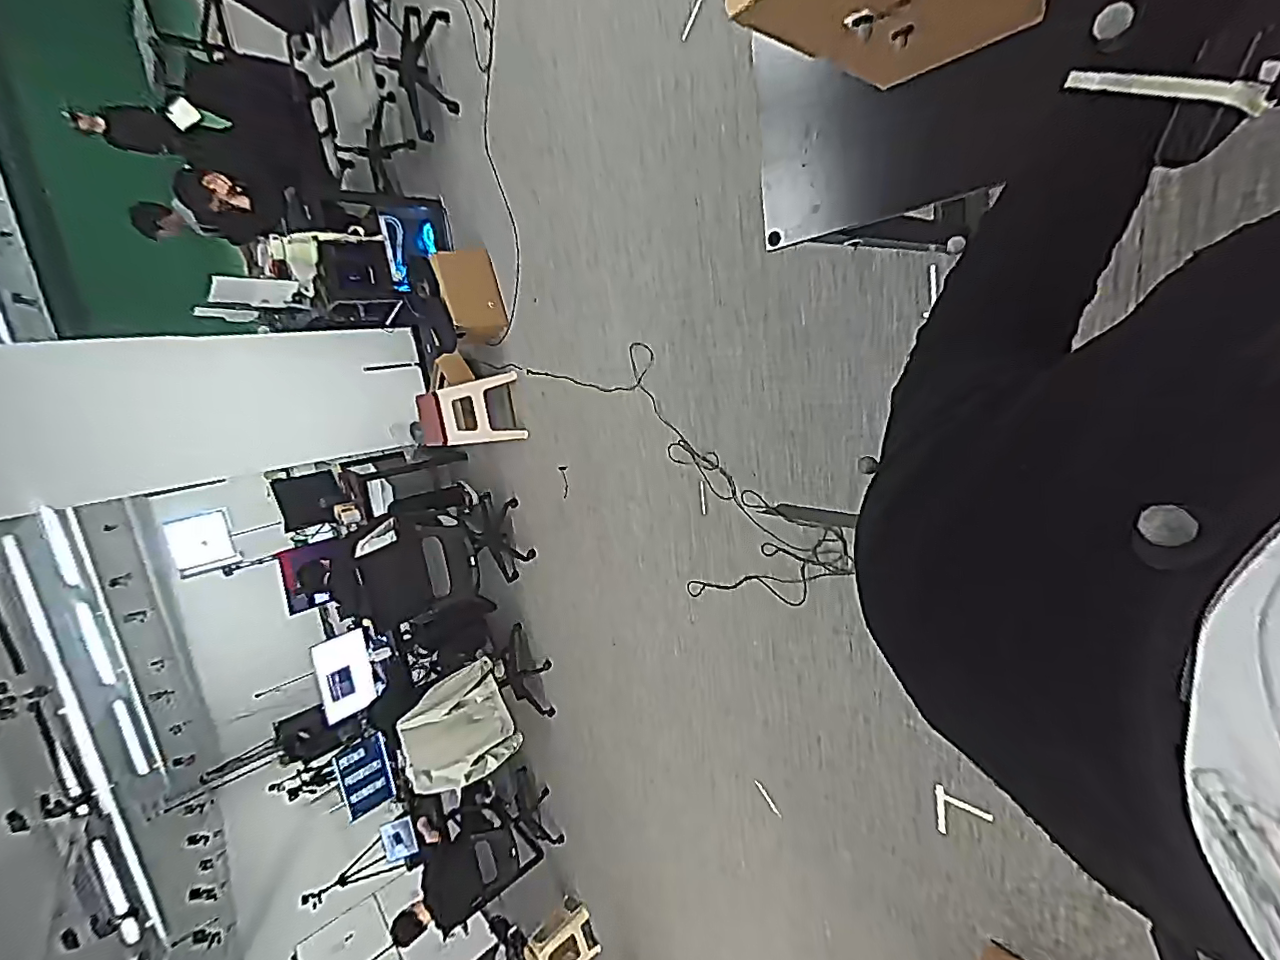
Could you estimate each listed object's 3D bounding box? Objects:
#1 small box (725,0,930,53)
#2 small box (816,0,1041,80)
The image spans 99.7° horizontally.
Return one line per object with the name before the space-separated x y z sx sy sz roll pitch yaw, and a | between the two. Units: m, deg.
small box | 0.184 -0.528 0.475 0.168 0.176 0.179 8 110 50
small box | 0.307 -0.566 0.574 0.179 0.176 0.168 8 110 47
